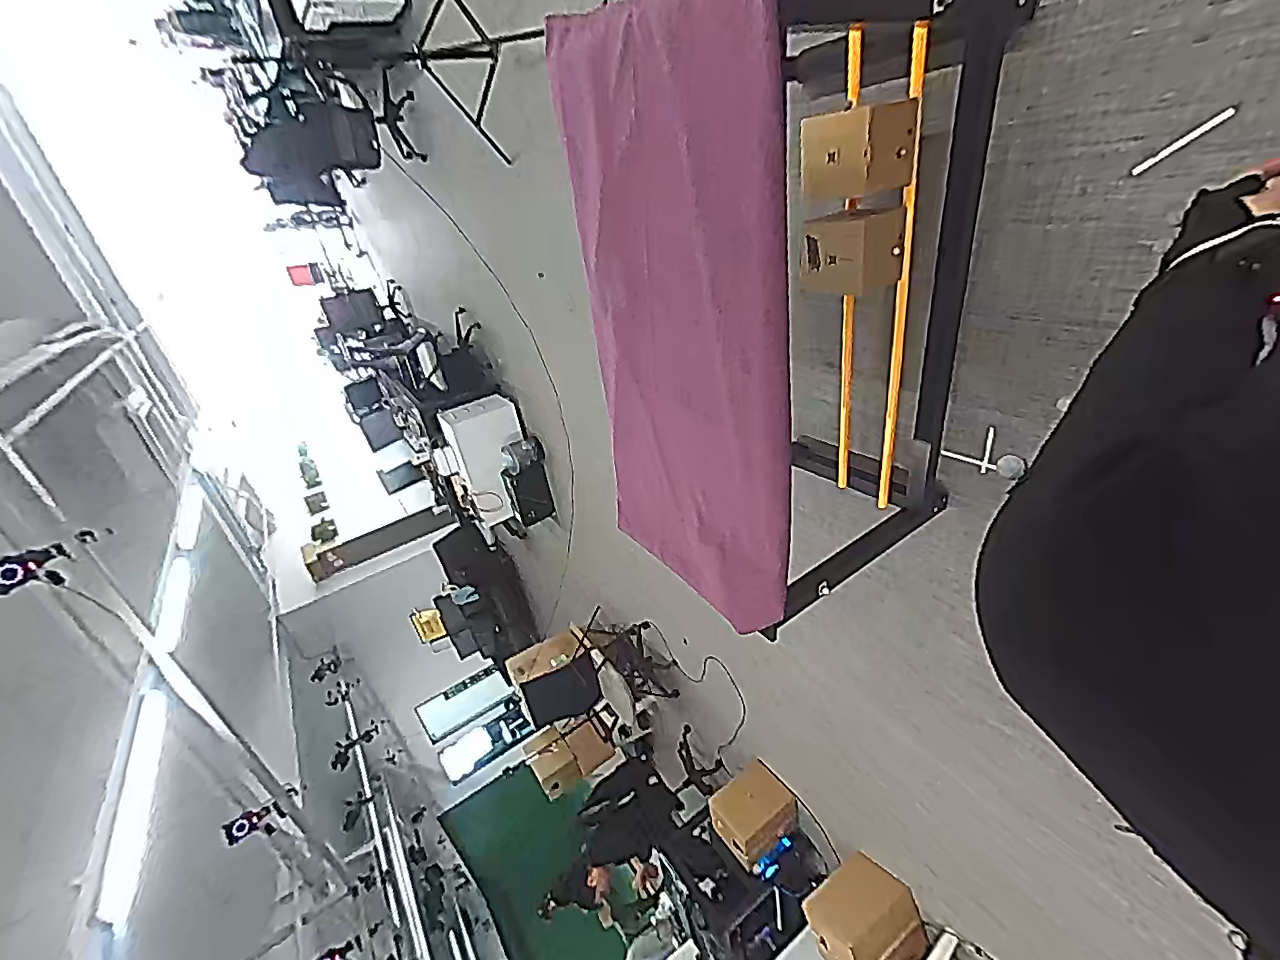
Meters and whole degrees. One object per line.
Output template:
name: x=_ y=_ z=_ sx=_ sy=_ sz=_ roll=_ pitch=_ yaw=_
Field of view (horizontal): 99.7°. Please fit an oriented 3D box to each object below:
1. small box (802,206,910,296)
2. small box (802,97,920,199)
small box: x=0.512 y=-0.552 z=1.298 sx=0.179 sy=0.176 sz=0.168 roll=28 pitch=138 yaw=48
small box: x=0.481 y=-0.727 z=1.193 sx=0.179 sy=0.176 sz=0.168 roll=29 pitch=138 yaw=49
